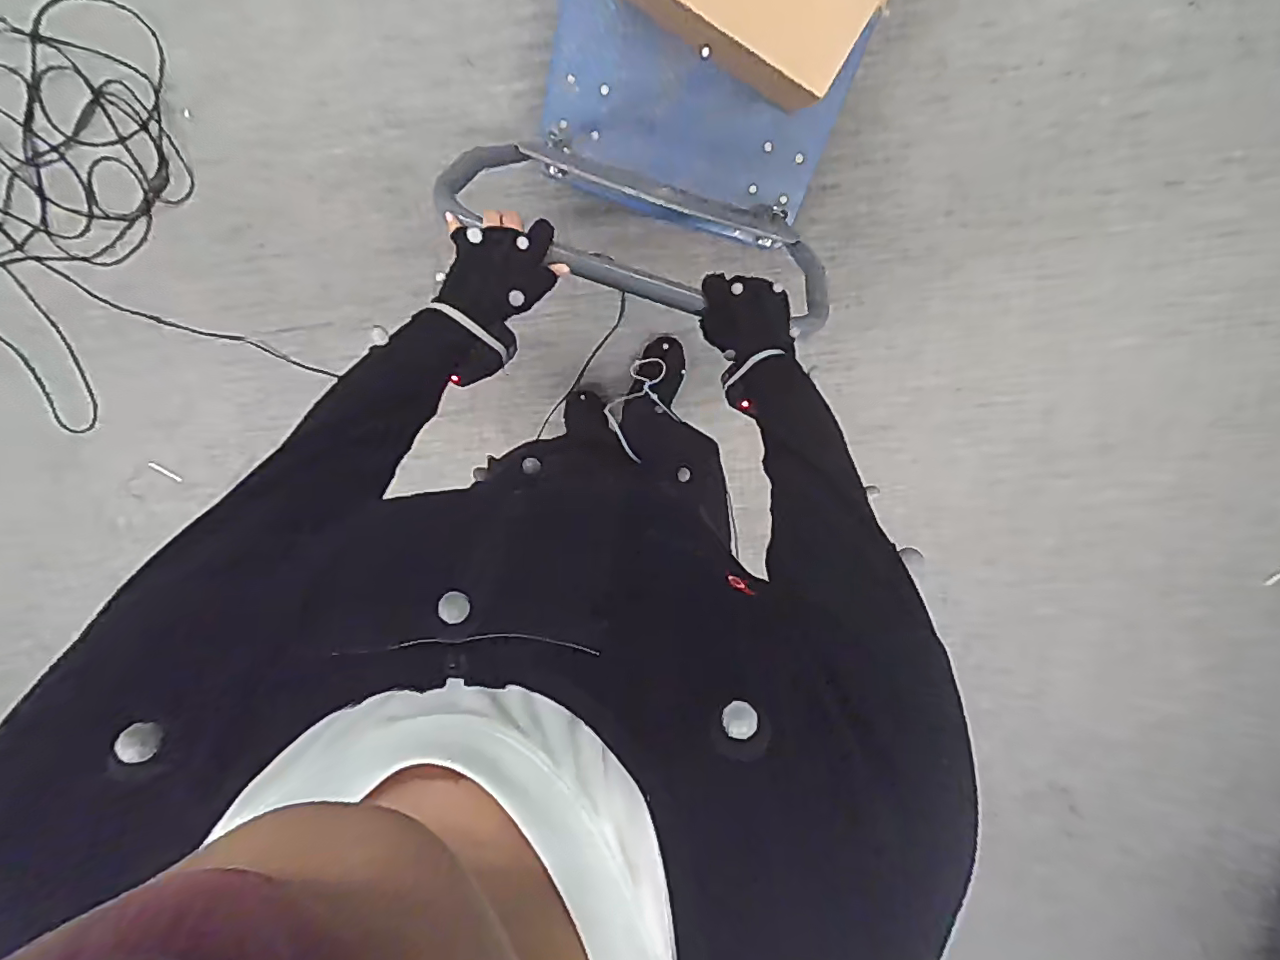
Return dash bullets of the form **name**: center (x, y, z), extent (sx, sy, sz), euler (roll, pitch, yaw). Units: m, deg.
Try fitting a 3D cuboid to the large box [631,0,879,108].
- **large box**: center (0.193, -0.860, 0.850), extent (0.408, 0.320, 0.320), euler (28, 119, -9)
